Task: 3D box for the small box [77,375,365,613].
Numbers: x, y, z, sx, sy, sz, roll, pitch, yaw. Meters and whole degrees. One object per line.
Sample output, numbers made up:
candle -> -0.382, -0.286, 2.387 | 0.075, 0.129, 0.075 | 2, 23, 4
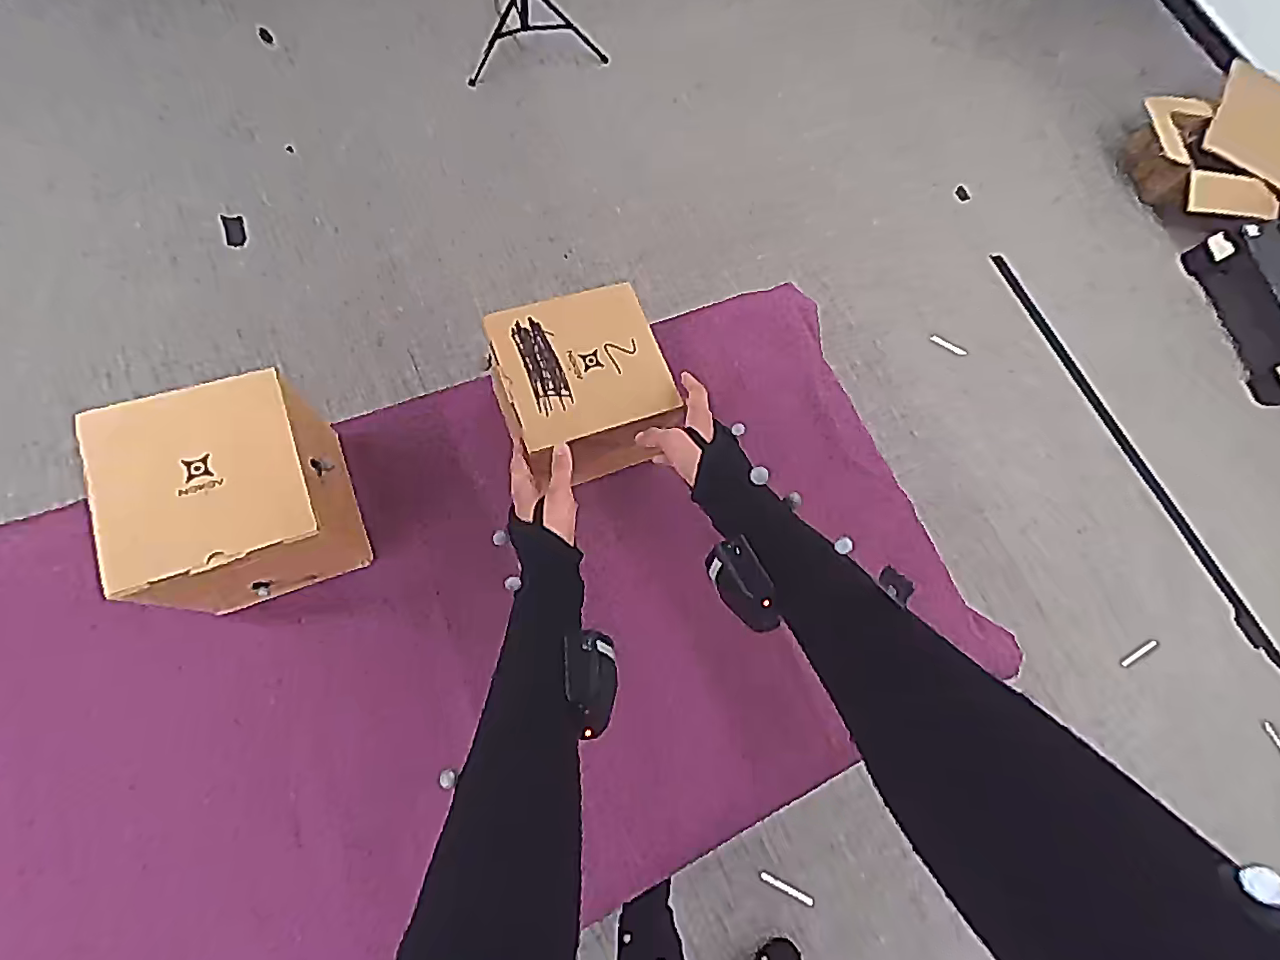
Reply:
small box -> -0.411, 0.023, 0.559 | 0.168, 0.176, 0.179 | -19, 77, -16
